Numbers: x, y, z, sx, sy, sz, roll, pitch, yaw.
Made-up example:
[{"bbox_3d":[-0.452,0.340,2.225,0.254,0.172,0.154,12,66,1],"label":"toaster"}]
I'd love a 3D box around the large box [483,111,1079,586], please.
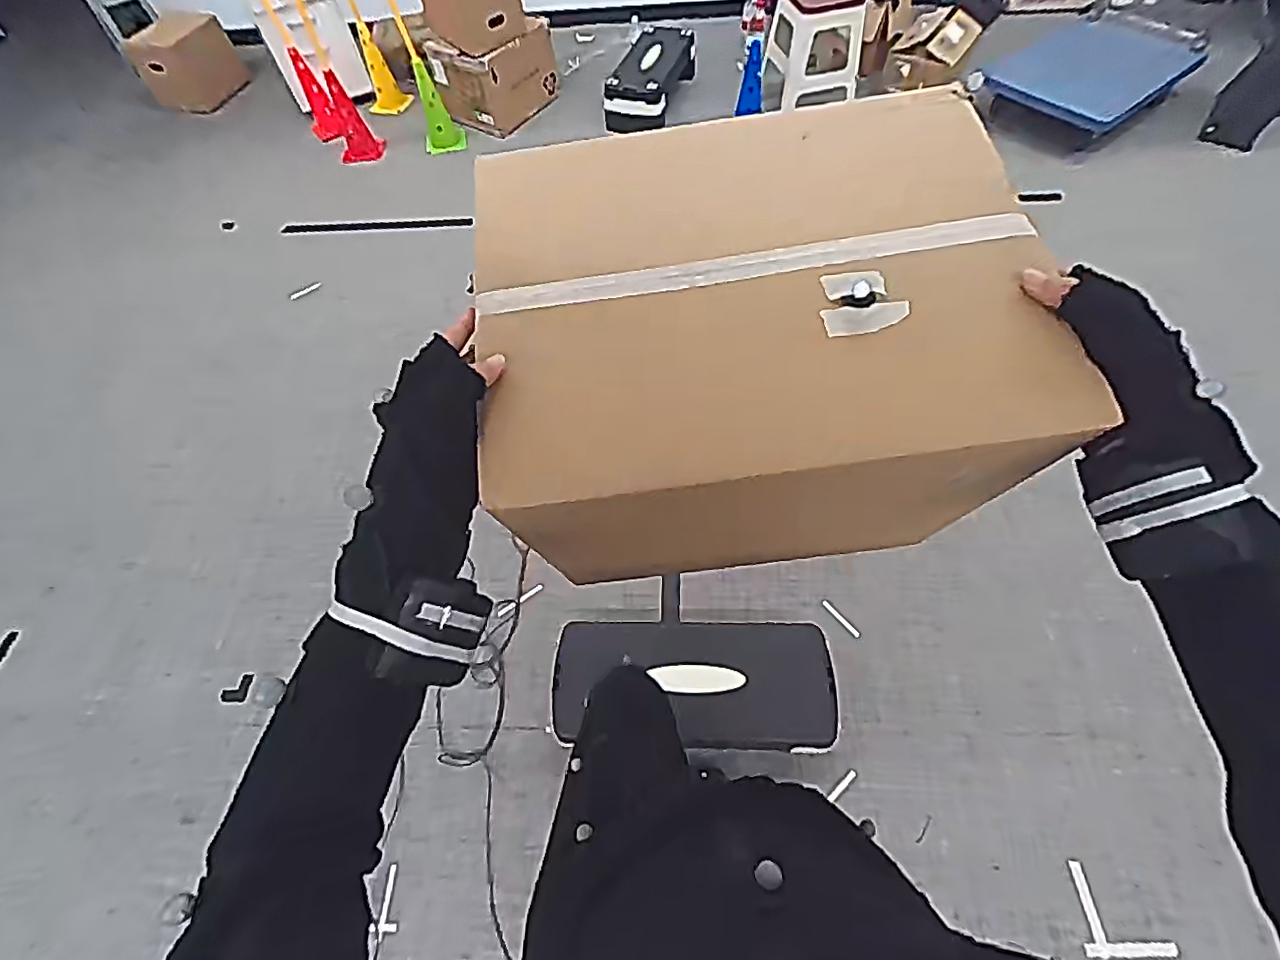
[{"bbox_3d":[0.087,-0.096,0.552,0.408,0.320,0.320,-8,69,1],"label":"large box"}]
